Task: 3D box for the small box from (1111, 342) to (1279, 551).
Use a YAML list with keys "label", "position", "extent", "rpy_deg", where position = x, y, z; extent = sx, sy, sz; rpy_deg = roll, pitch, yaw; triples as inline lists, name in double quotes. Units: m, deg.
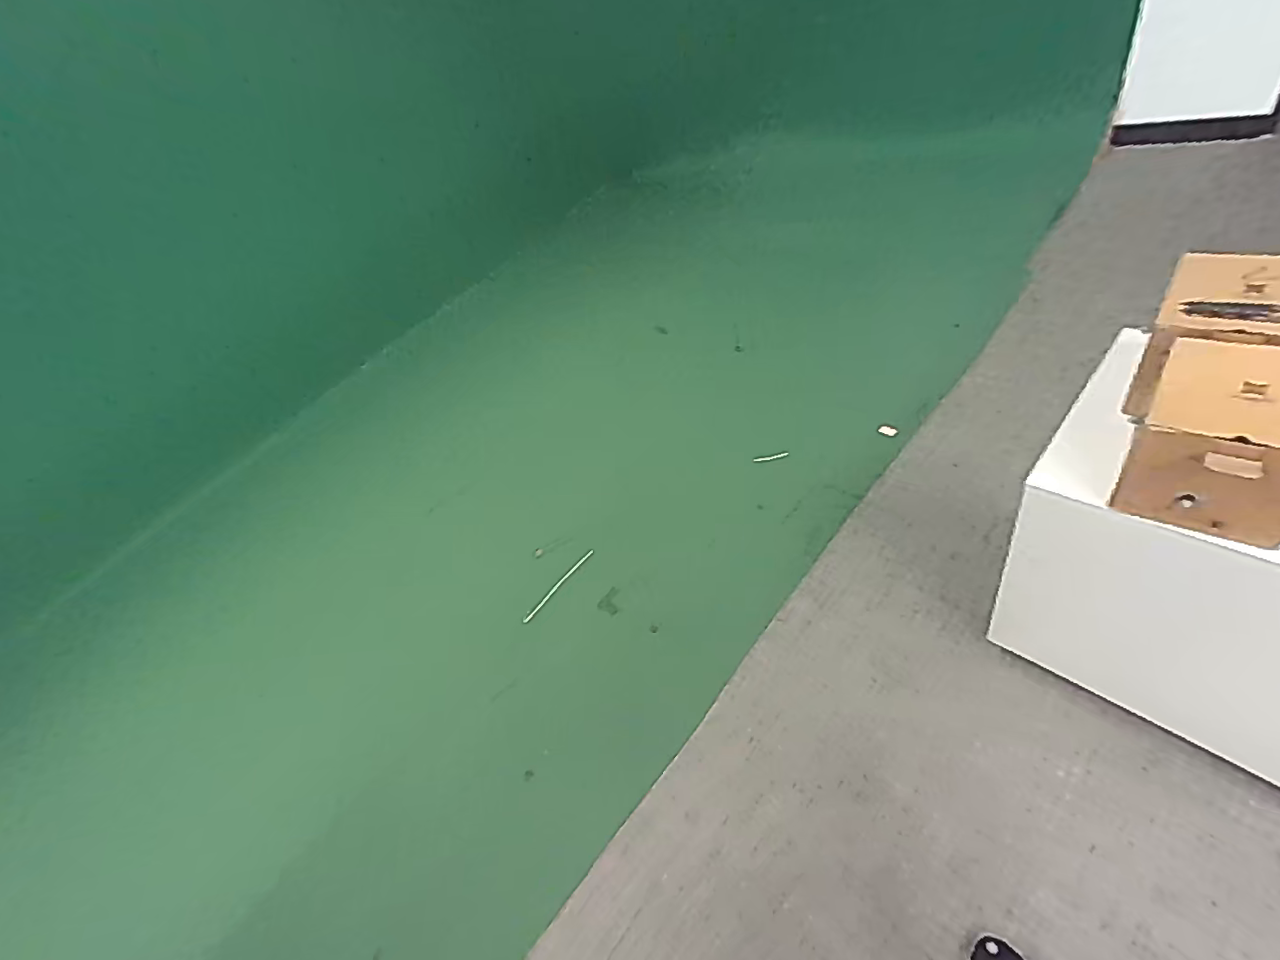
- label: "small box"
  position: [0.735, -0.045, 0.682]
  extent: [0.168, 0.176, 0.179]
  rpy_deg: [21, 61, 38]
